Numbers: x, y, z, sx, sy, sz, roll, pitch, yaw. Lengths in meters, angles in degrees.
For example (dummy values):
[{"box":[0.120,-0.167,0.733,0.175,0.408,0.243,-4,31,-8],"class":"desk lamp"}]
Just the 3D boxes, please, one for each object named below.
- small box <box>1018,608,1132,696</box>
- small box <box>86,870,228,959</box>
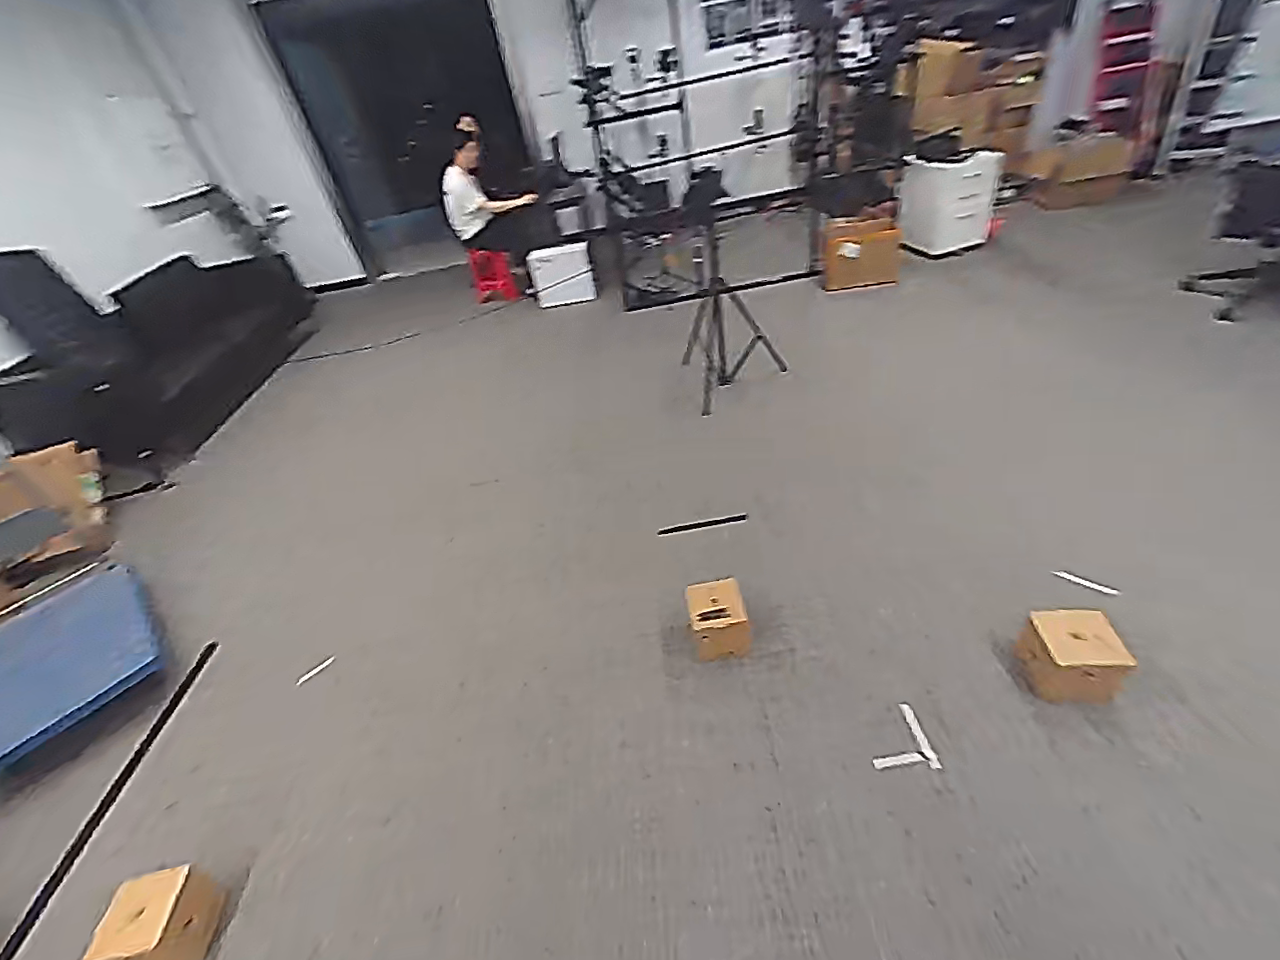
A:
[{"box":[1.147,0.462,1.449,0.179,0.176,0.168,-4,39,10],"class":"small box"},{"box":[-1.161,1.088,1.314,0.179,0.176,0.168,-15,38,-2],"class":"small box"}]
